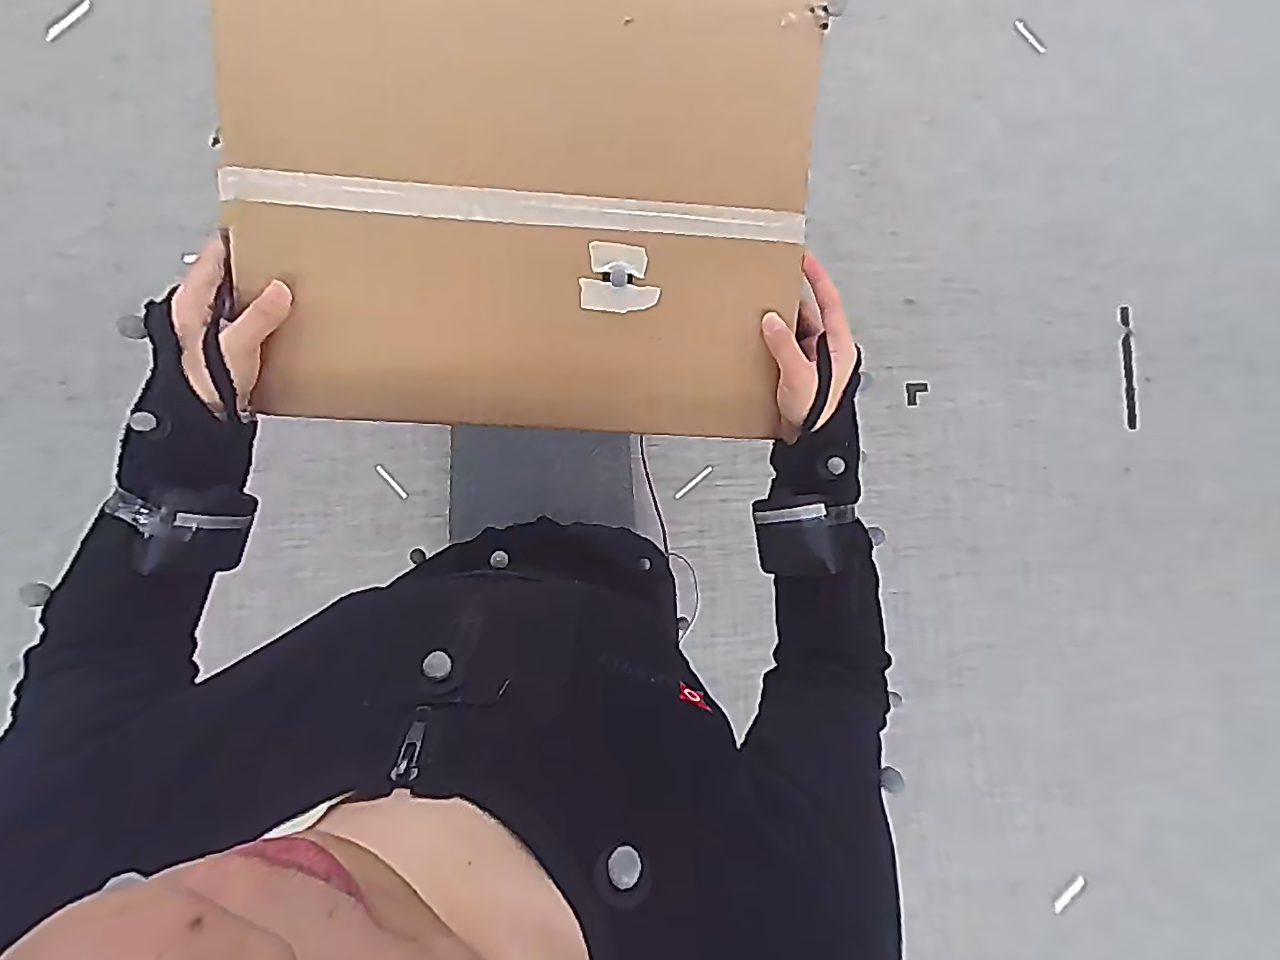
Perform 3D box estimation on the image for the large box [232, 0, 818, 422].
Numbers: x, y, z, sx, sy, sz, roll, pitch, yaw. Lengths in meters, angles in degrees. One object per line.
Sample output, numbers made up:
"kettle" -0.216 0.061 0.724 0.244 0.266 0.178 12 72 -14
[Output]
"large box" -0.091 -0.229 0.538 0.408 0.320 0.320 2 101 -6
